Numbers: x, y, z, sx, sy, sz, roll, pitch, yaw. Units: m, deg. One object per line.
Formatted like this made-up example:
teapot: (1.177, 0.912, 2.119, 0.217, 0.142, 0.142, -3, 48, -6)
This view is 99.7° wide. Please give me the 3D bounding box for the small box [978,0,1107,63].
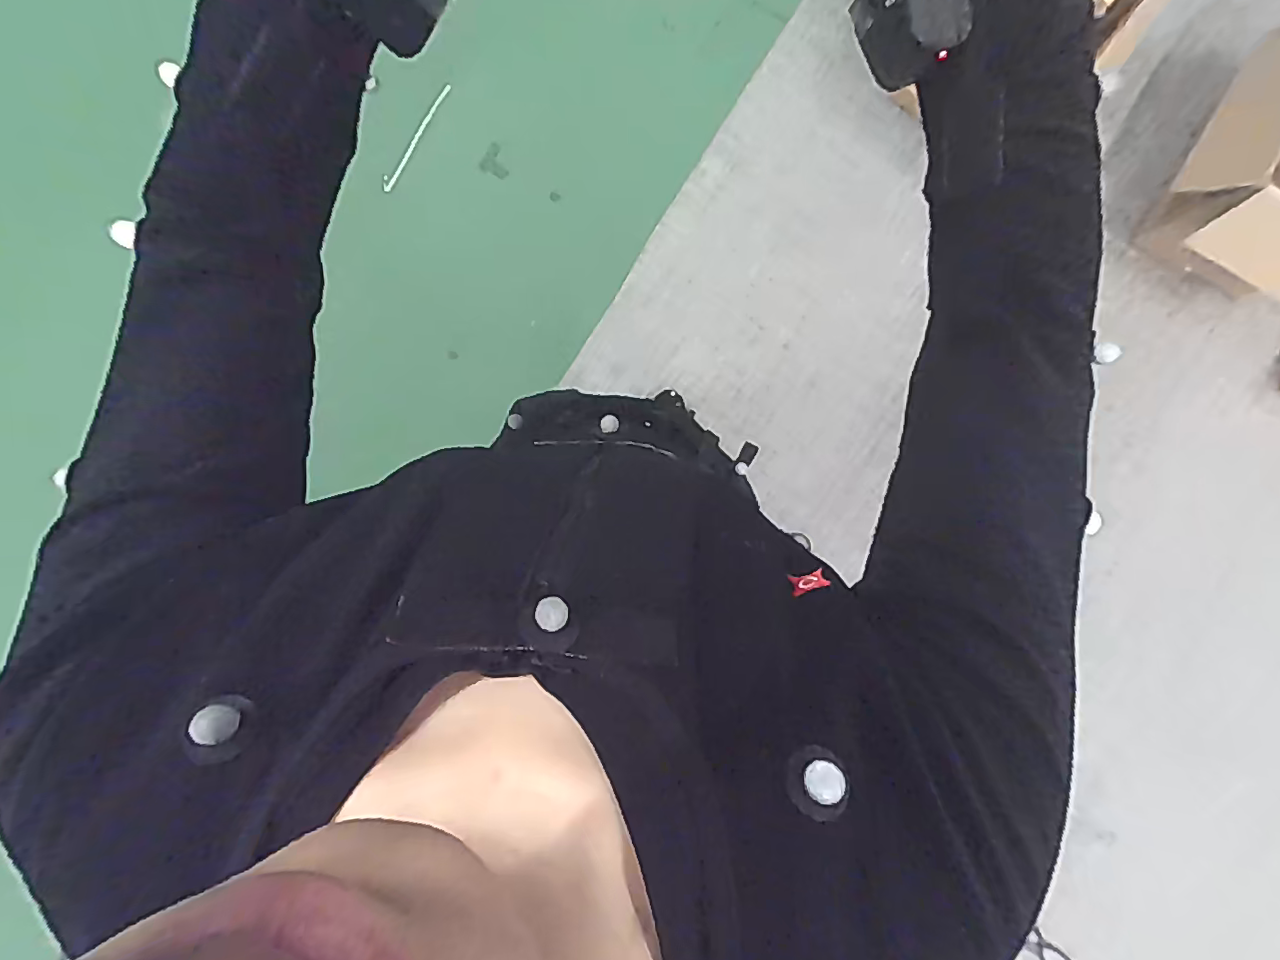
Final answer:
small box: (0.855, -1.014, 1.110, 0.179, 0.176, 0.168, 38, 93, -2)
